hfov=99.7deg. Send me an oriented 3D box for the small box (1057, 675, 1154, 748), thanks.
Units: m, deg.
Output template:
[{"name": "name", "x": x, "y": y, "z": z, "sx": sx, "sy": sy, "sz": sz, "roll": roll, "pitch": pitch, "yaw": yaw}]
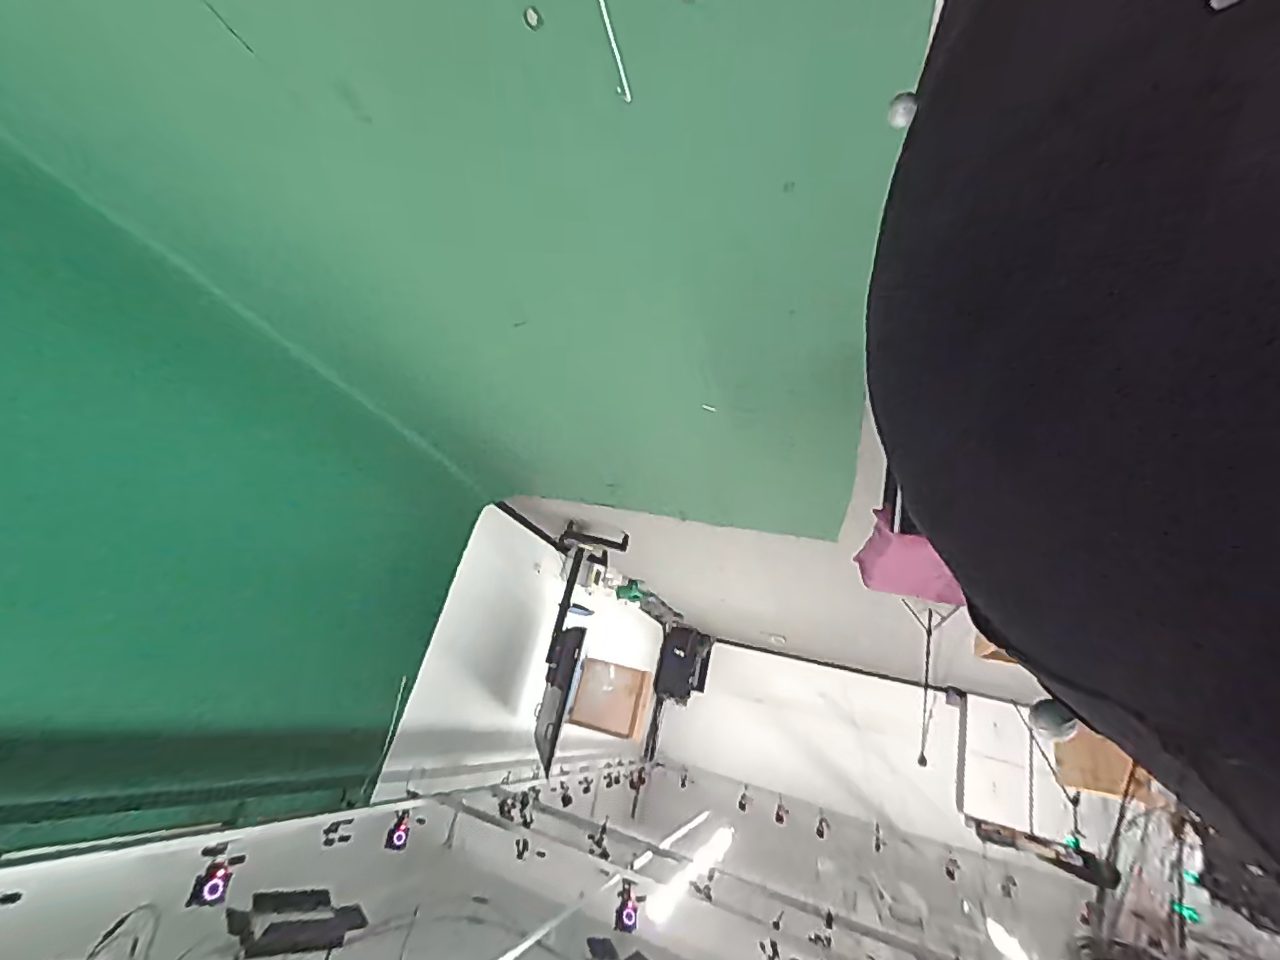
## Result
[{"name": "small box", "x": 1.391, "y": 0.697, "z": 1.633, "sx": 0.168, "sy": 0.176, "sz": 0.179, "roll": 8, "pitch": 156, "yaw": 17}]
